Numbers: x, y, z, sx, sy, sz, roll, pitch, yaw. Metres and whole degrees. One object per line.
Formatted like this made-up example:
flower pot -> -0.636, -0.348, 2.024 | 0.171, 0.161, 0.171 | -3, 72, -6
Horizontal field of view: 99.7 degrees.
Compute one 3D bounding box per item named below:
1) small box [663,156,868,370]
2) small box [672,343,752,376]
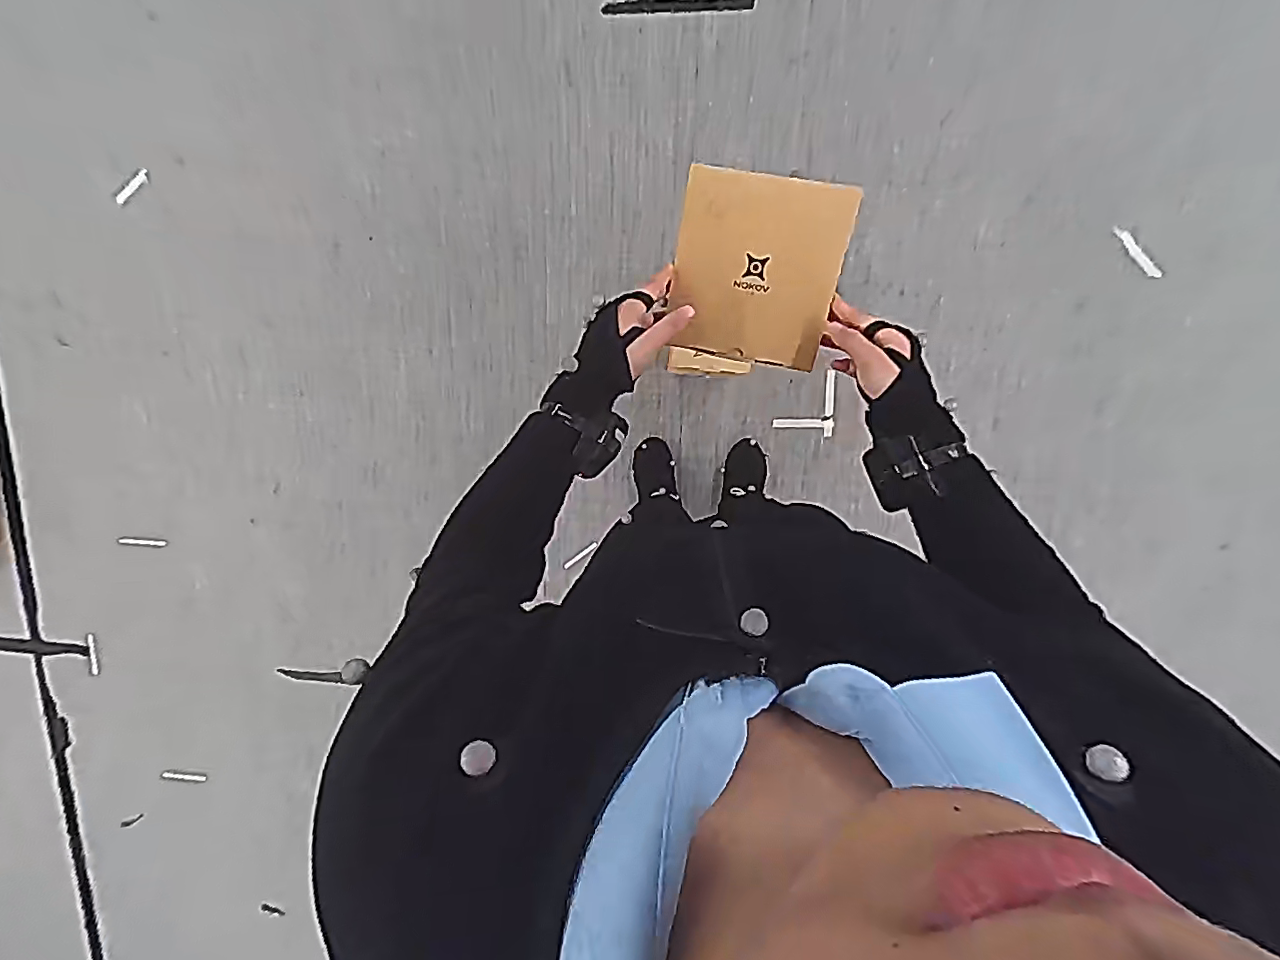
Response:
small box -> 0.130, -0.239, 0.603 | 0.168, 0.176, 0.179 | 13, 116, 7
small box -> 0.162, -0.324, 1.176 | 0.168, 0.176, 0.179 | 7, 101, 5
